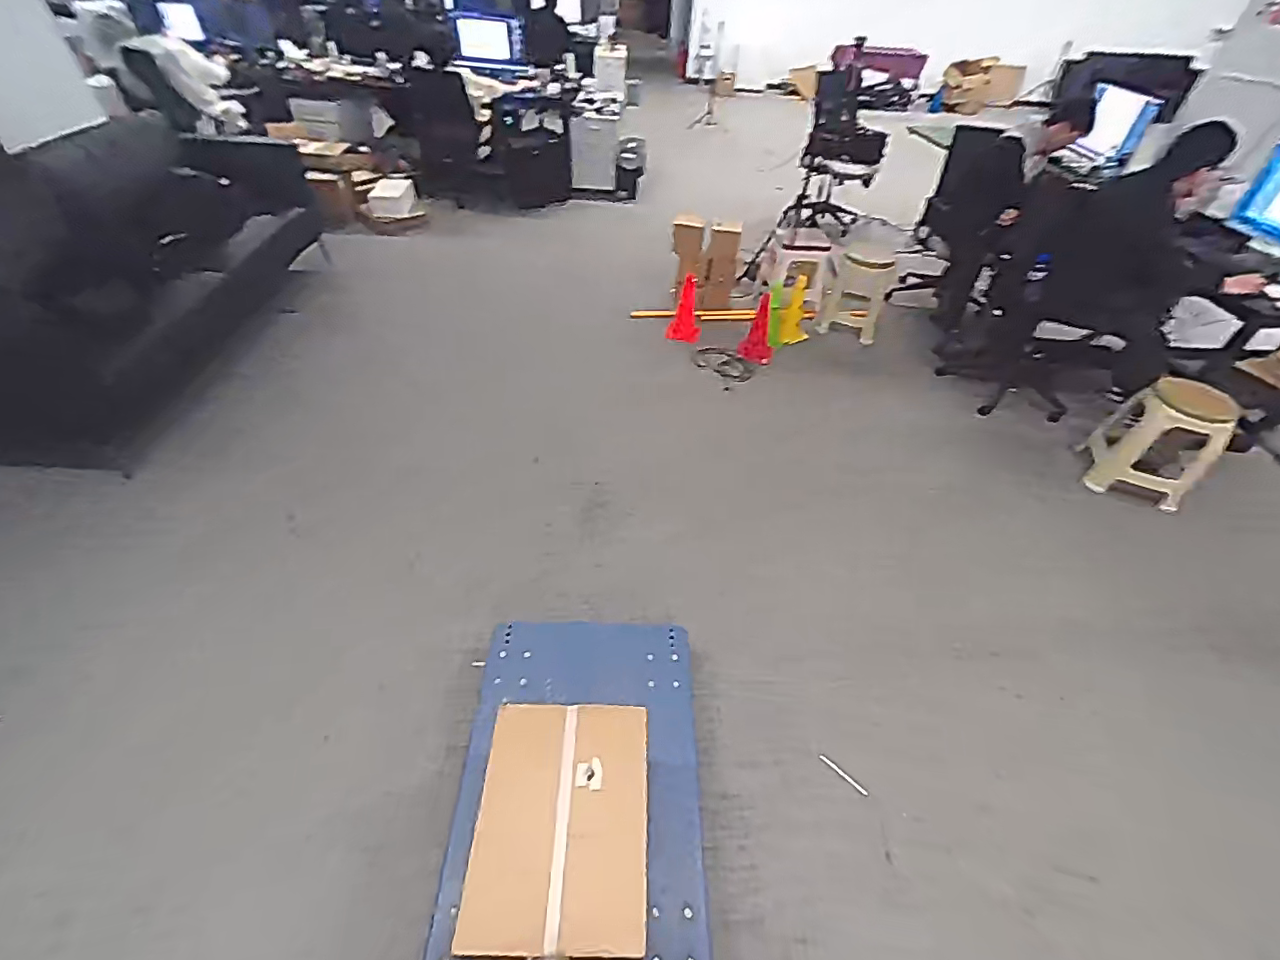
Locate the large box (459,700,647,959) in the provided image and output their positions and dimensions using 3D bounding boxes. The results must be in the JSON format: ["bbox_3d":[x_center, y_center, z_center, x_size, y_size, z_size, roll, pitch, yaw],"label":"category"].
[{"bbox_3d":[-0.150,0.721,1.121,0.320,0.320,0.408,2,43,-2],"label":"large box"}]
